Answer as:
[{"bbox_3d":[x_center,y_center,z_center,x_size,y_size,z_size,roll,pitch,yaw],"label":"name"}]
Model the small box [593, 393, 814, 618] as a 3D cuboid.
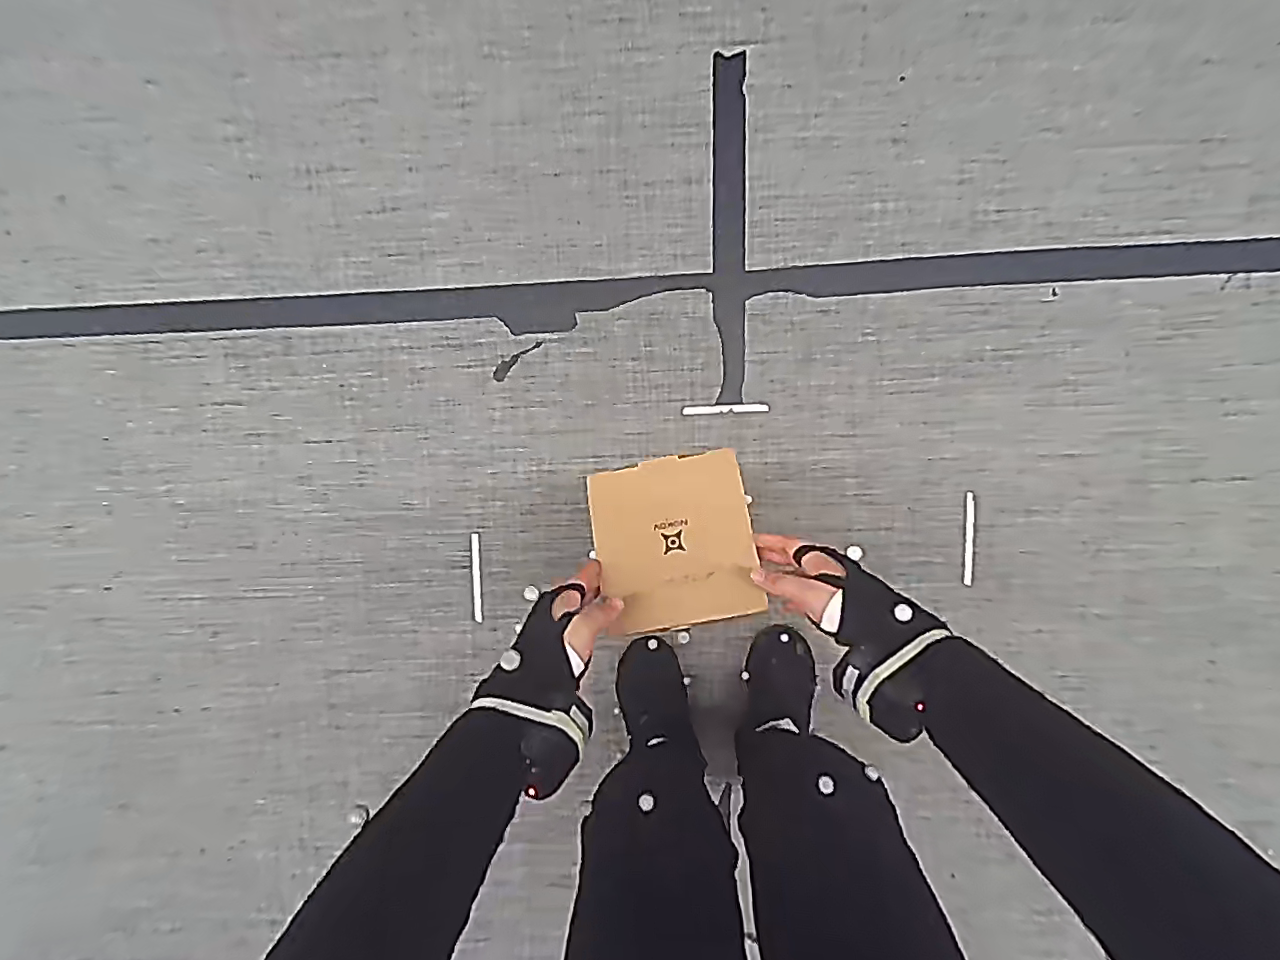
[{"bbox_3d":[0.058,0.038,0.545,0.168,0.176,0.179,-12,75,5],"label":"small box"}]
